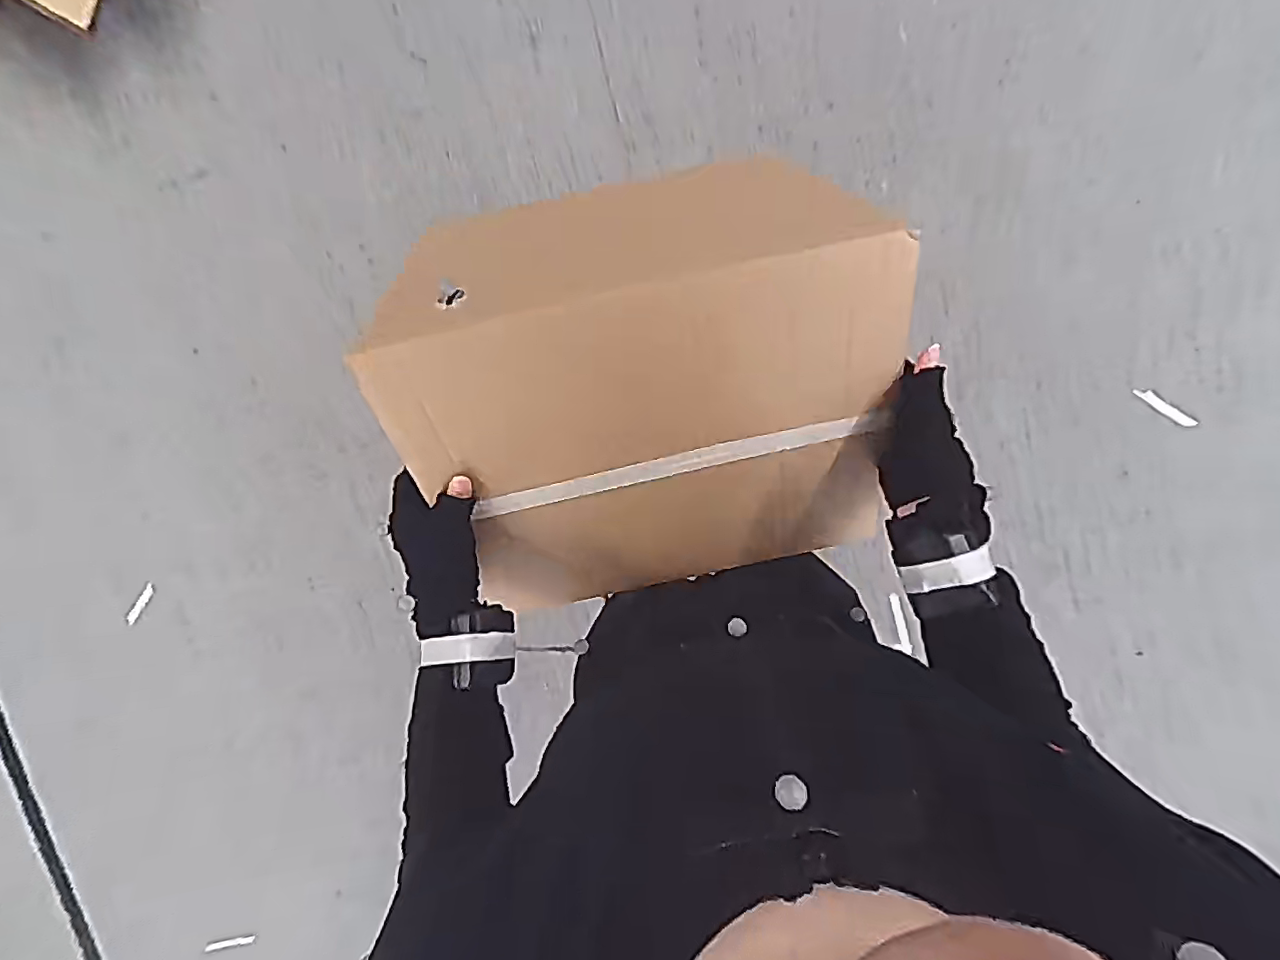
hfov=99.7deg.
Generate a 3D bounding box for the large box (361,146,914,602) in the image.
[{"bbox_3d":[0.000,-0.119,0.582,0.408,0.320,0.320,-12,133,0],"label":"large box"}]
